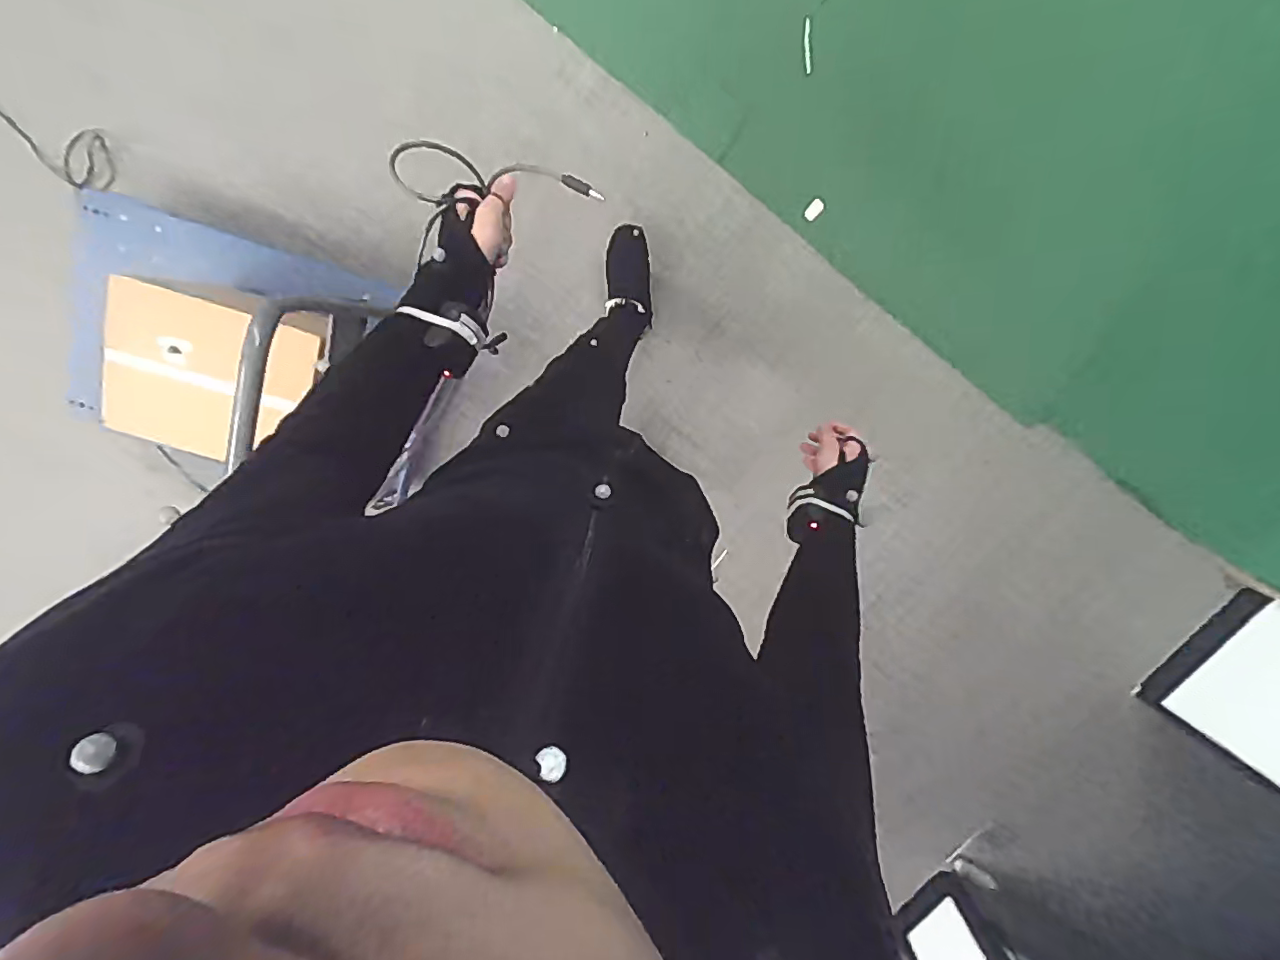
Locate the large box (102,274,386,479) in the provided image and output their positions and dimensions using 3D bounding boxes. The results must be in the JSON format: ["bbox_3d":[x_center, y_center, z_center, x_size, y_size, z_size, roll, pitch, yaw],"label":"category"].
[{"bbox_3d":[-0.853,-0.235,1.215,0.408,0.320,0.320,17,104,-4],"label":"large box"}]
